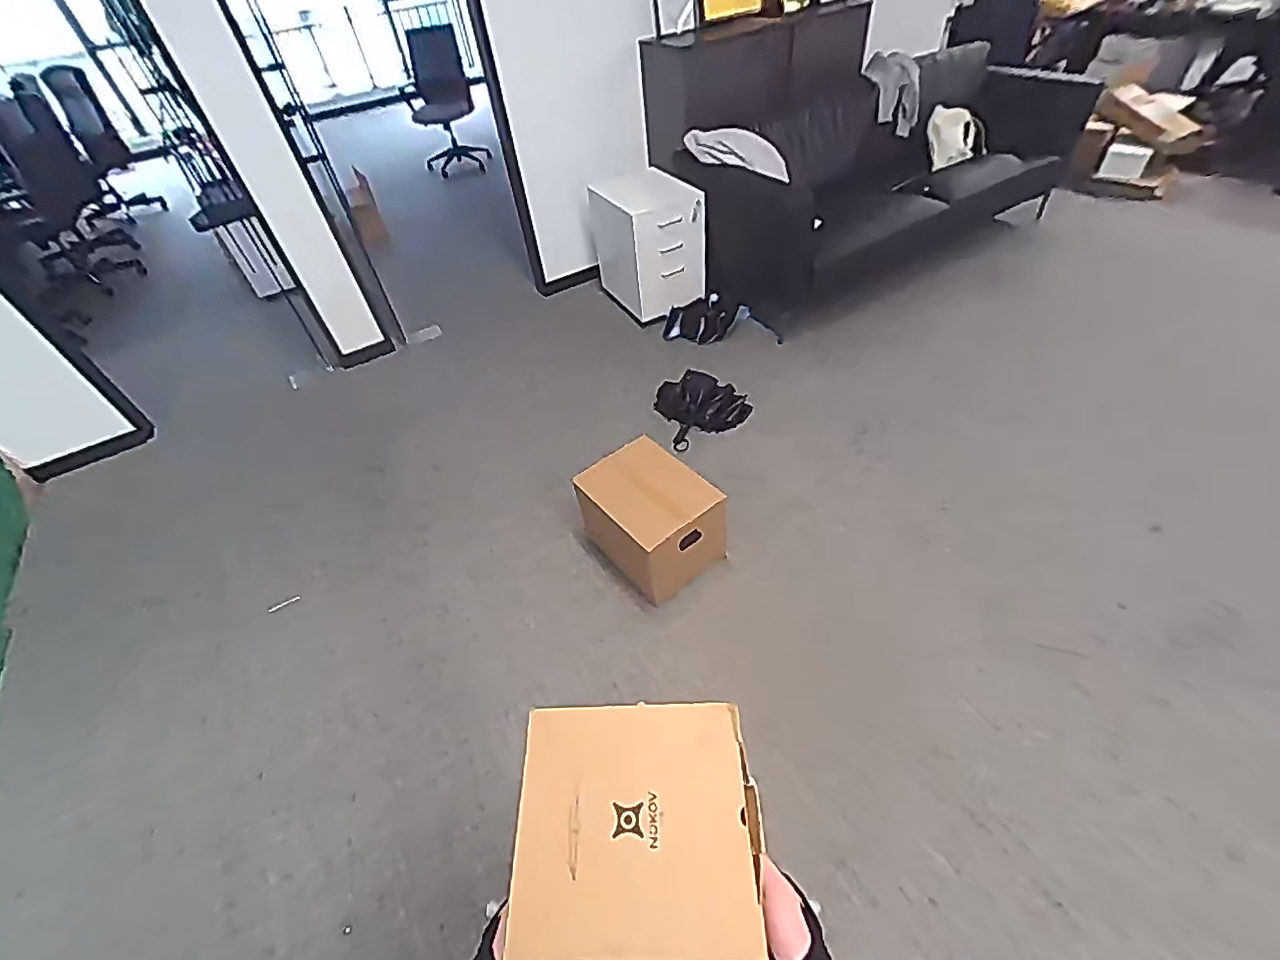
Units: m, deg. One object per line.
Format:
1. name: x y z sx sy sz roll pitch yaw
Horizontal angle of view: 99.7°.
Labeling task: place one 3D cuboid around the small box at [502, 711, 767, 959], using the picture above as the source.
1. small box: -0.001 0.309 0.460 0.179 0.176 0.168 -4 49 3
